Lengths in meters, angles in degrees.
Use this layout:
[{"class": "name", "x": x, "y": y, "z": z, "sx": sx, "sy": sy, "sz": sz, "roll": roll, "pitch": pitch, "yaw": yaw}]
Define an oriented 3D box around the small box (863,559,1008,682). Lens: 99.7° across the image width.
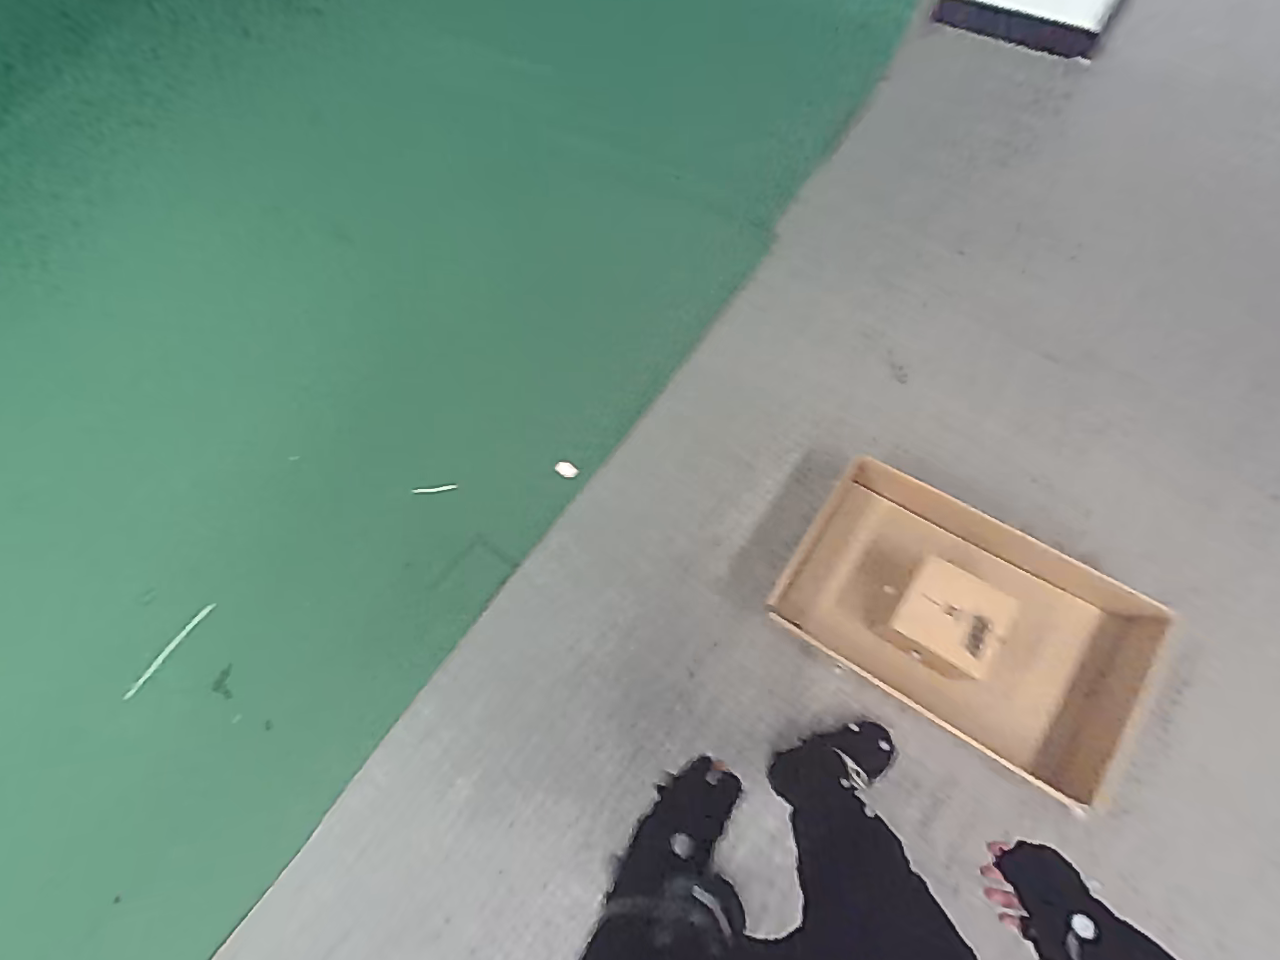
[{"class": "small box", "x": 0.584, "y": 0.285, "z": 1.094, "sx": 0.179, "sy": 0.176, "sz": 0.168, "roll": 32, "pitch": 78, "yaw": 19}]
